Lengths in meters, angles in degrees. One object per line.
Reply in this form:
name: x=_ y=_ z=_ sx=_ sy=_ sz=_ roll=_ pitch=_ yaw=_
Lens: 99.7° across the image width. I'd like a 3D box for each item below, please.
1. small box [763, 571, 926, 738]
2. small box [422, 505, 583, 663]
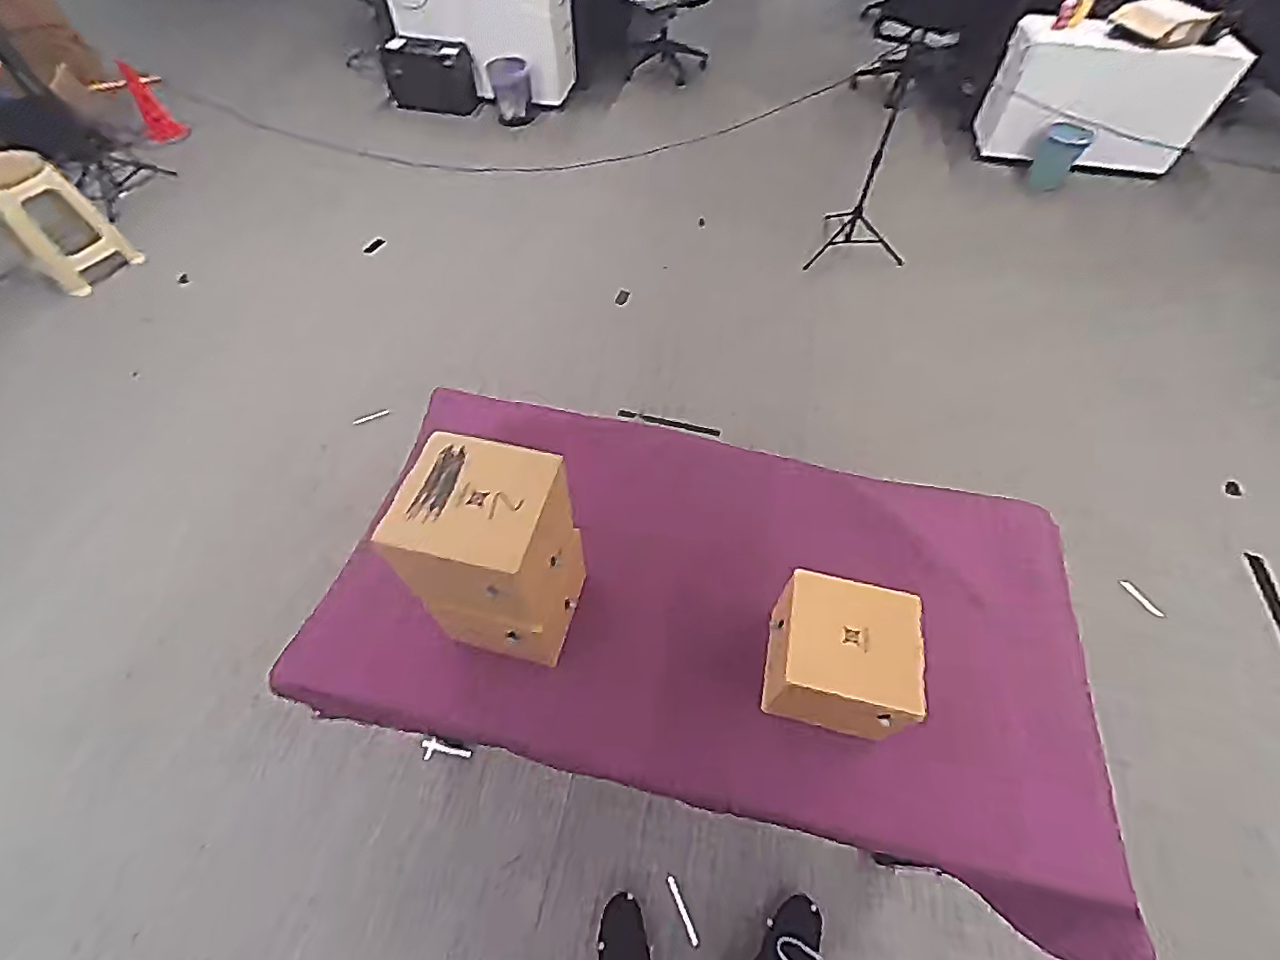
small box: x=0.284 y=0.256 z=0.780 sx=0.179 sy=0.176 sz=0.168 roll=12 pitch=56 yaw=7
small box: x=-0.193 y=0.165 z=0.830 sx=0.179 sy=0.176 sz=0.168 roll=13 pitch=56 yaw=7
